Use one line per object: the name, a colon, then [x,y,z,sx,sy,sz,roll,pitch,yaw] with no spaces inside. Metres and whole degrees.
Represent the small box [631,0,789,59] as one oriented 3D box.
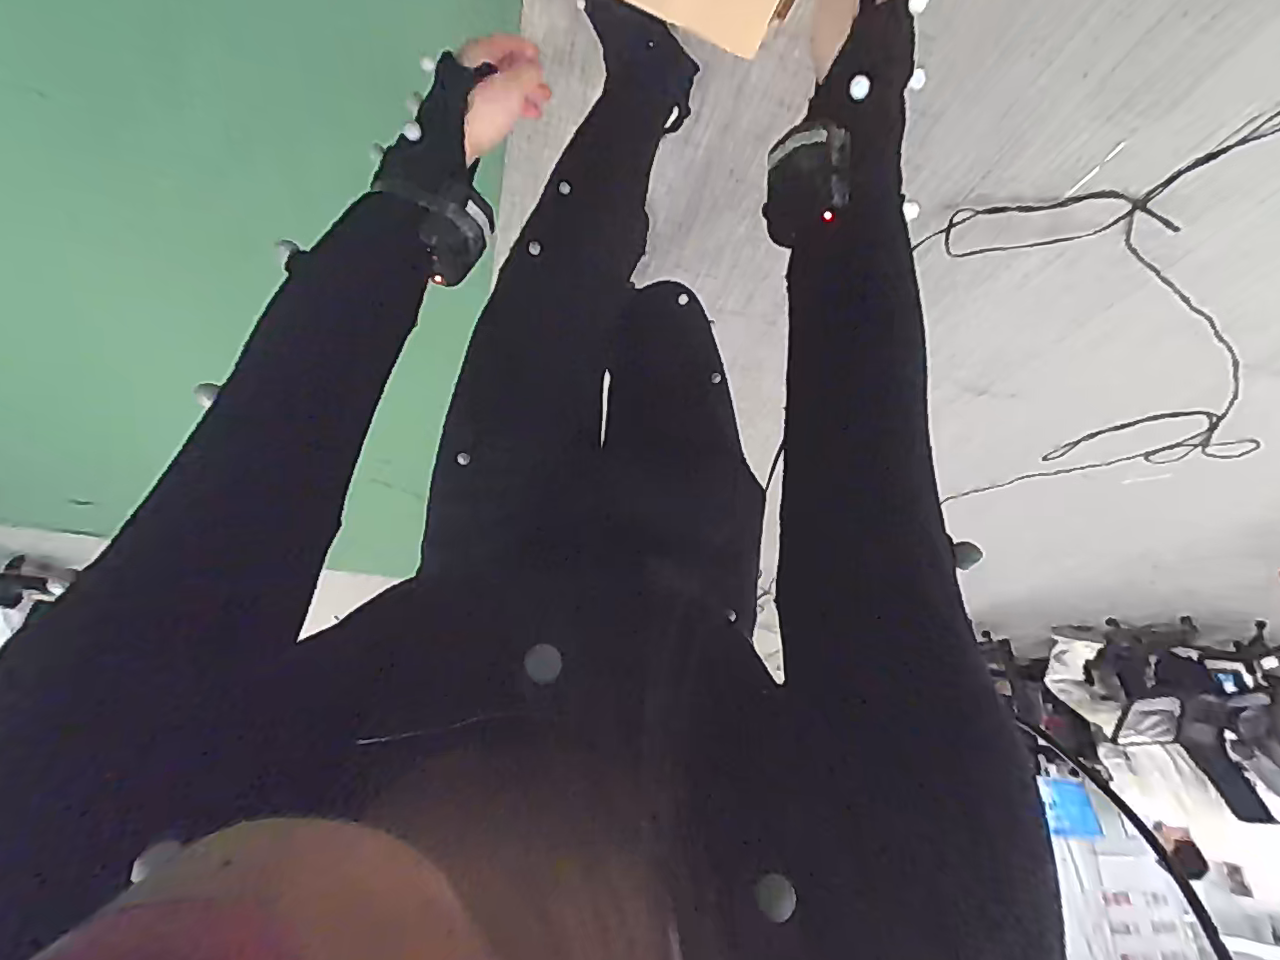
small box: [0.061,-0.516,0.453,0.179,0.176,0.168,12,150,-19]
